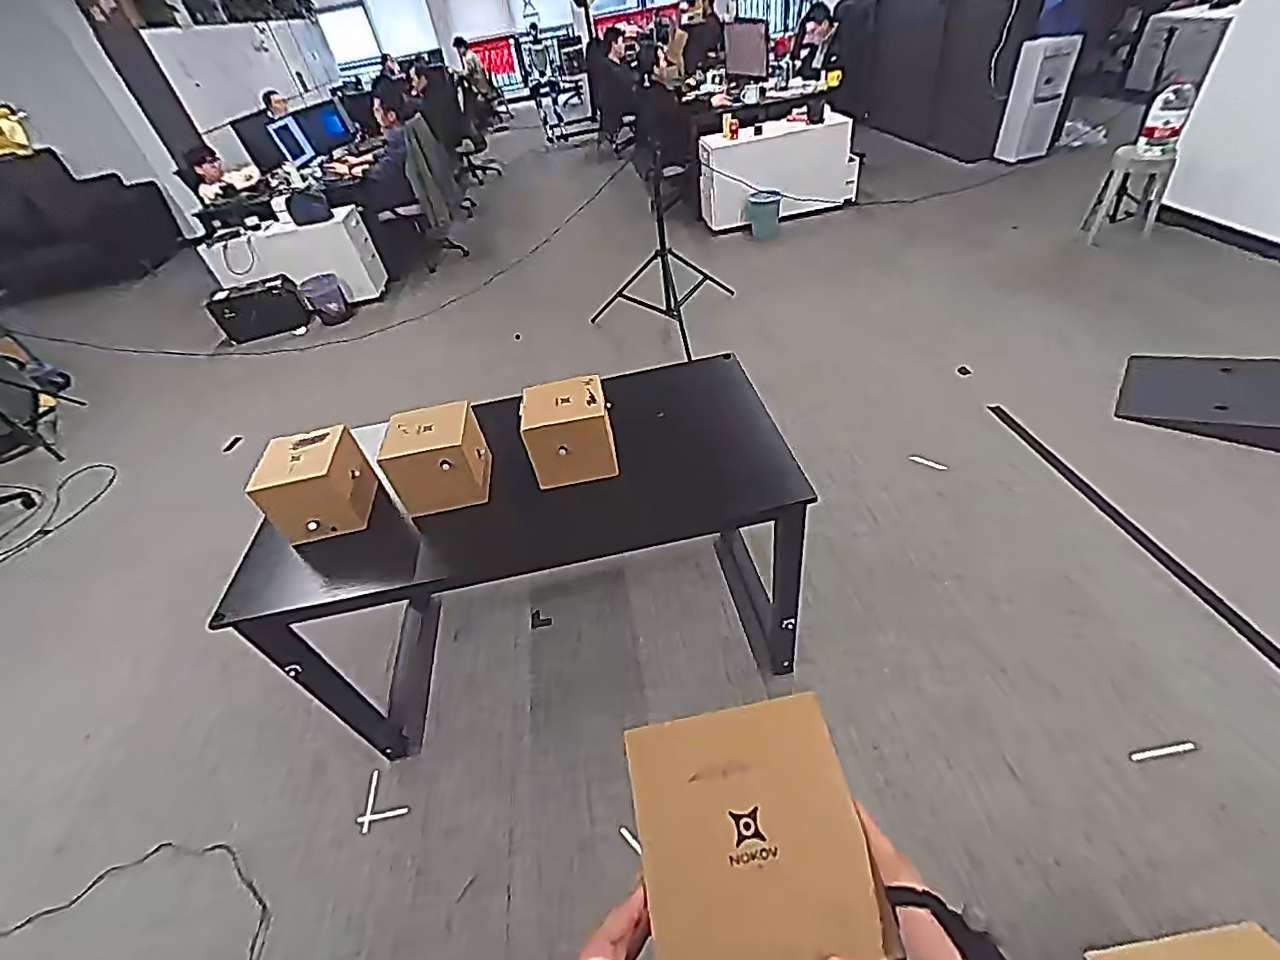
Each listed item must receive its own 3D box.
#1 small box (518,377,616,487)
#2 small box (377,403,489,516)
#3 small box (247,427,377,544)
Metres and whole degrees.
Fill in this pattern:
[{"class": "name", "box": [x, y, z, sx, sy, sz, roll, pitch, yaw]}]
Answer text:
[{"class": "small box", "box": [-0.158, -0.103, 1.204, 0.179, 0.176, 0.168, -11, 42, 1]}, {"class": "small box", "box": [-0.445, -0.044, 1.196, 0.179, 0.176, 0.168, -12, 41, -2]}, {"class": "small box", "box": [-0.706, 0.012, 1.191, 0.168, 0.176, 0.179, -13, 43, -2]}]
